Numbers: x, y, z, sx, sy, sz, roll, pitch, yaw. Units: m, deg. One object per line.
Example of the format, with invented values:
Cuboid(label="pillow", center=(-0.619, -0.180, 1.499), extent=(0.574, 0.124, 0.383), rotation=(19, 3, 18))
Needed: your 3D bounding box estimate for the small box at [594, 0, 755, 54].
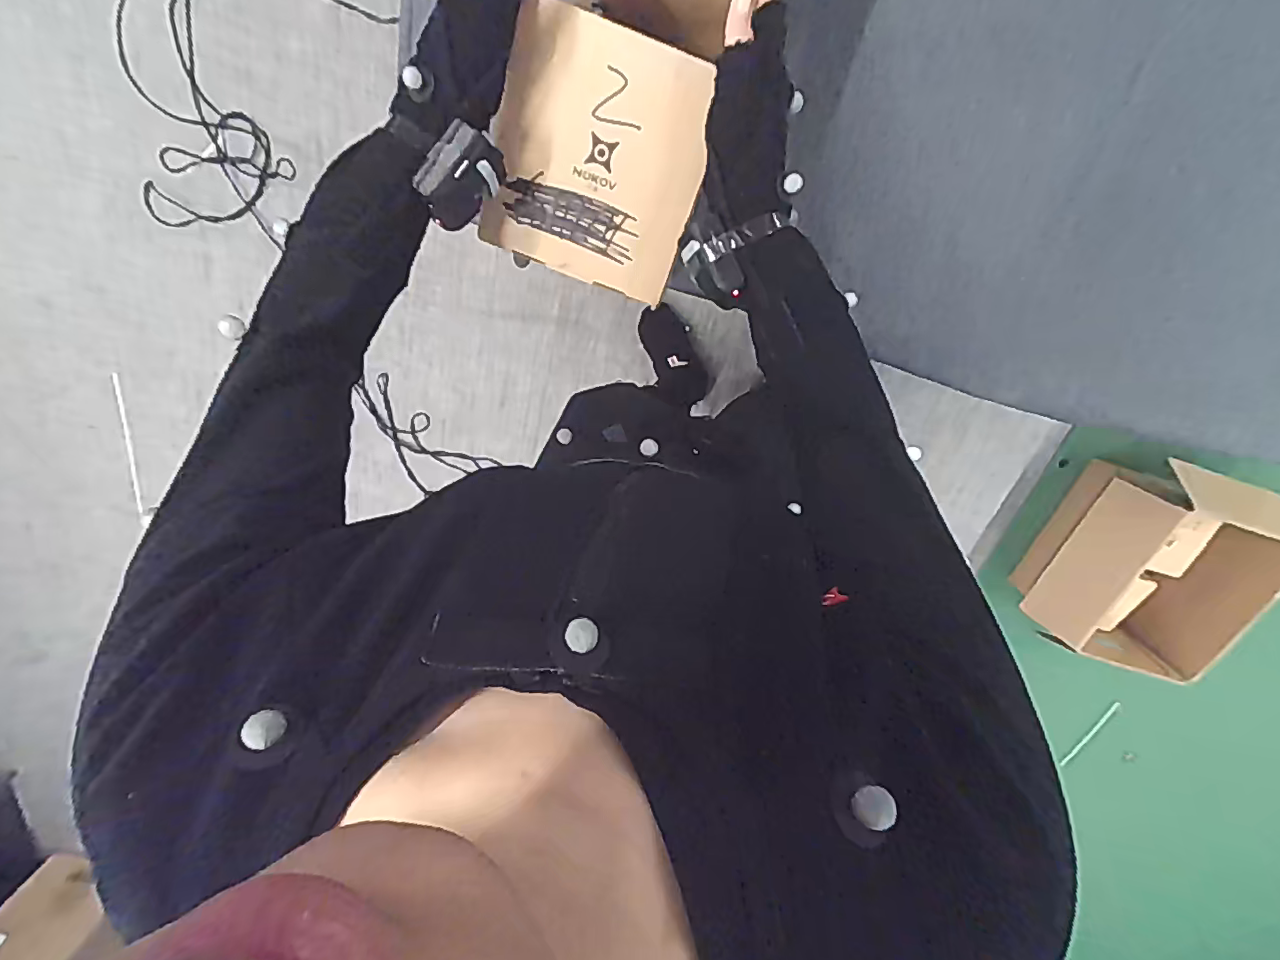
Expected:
Cuboid(label="small box", center=(0.037, -0.472, 0.408), extent=(0.168, 0.176, 0.179), rotation=(17, 110, -5))
